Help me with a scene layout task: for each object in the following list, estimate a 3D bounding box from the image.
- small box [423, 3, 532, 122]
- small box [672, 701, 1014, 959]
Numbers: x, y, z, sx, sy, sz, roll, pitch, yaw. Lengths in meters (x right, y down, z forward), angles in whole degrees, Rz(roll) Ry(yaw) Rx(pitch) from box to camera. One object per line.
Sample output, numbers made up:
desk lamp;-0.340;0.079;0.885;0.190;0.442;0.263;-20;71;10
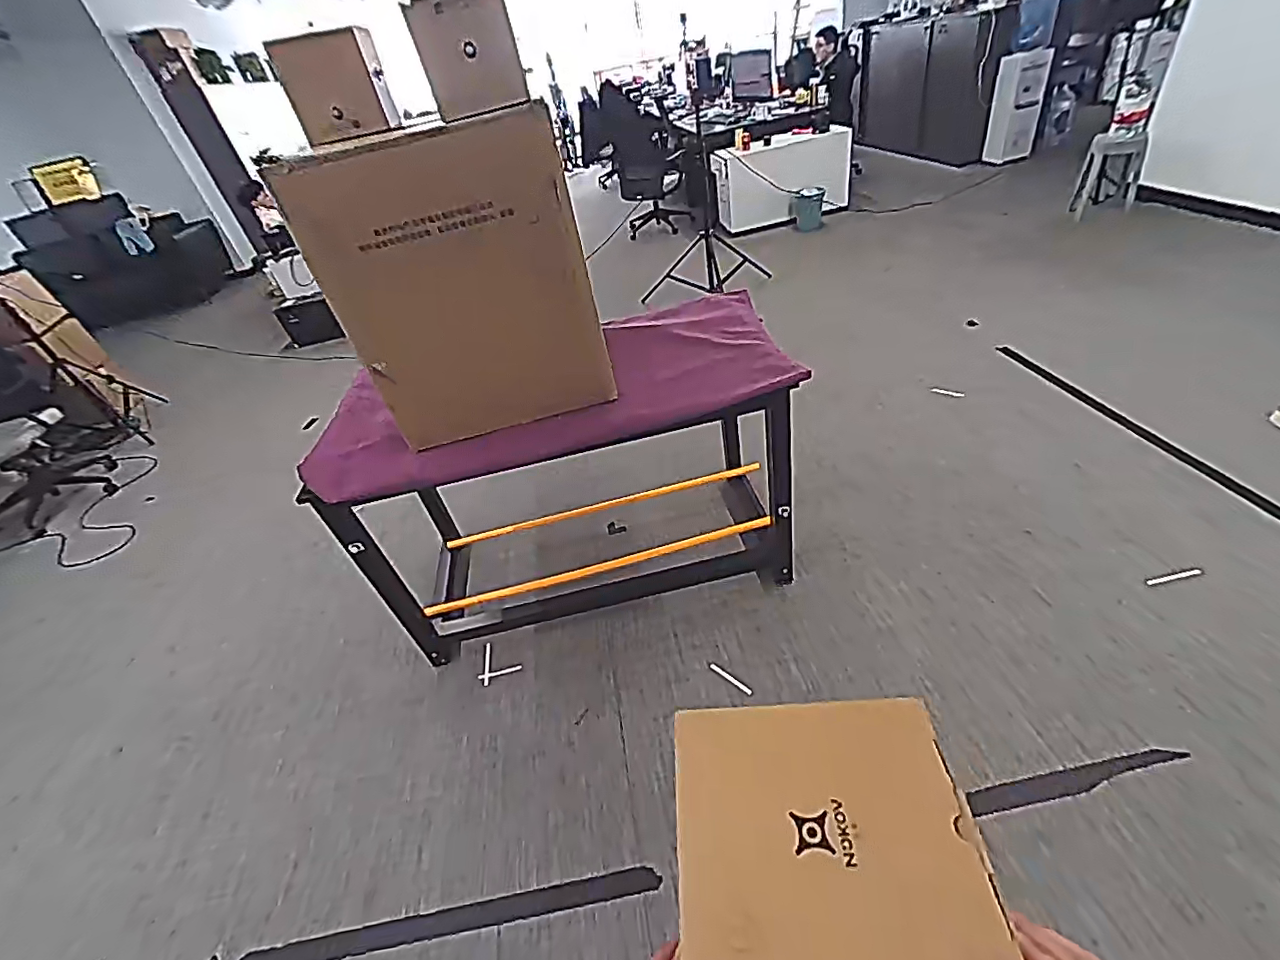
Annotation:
small box;-0.333;-0.875;1.144;0.168;0.176;0.179;-14;38;0
small box;0.121;0.279;0.380;0.179;0.176;0.168;-6;38;7
